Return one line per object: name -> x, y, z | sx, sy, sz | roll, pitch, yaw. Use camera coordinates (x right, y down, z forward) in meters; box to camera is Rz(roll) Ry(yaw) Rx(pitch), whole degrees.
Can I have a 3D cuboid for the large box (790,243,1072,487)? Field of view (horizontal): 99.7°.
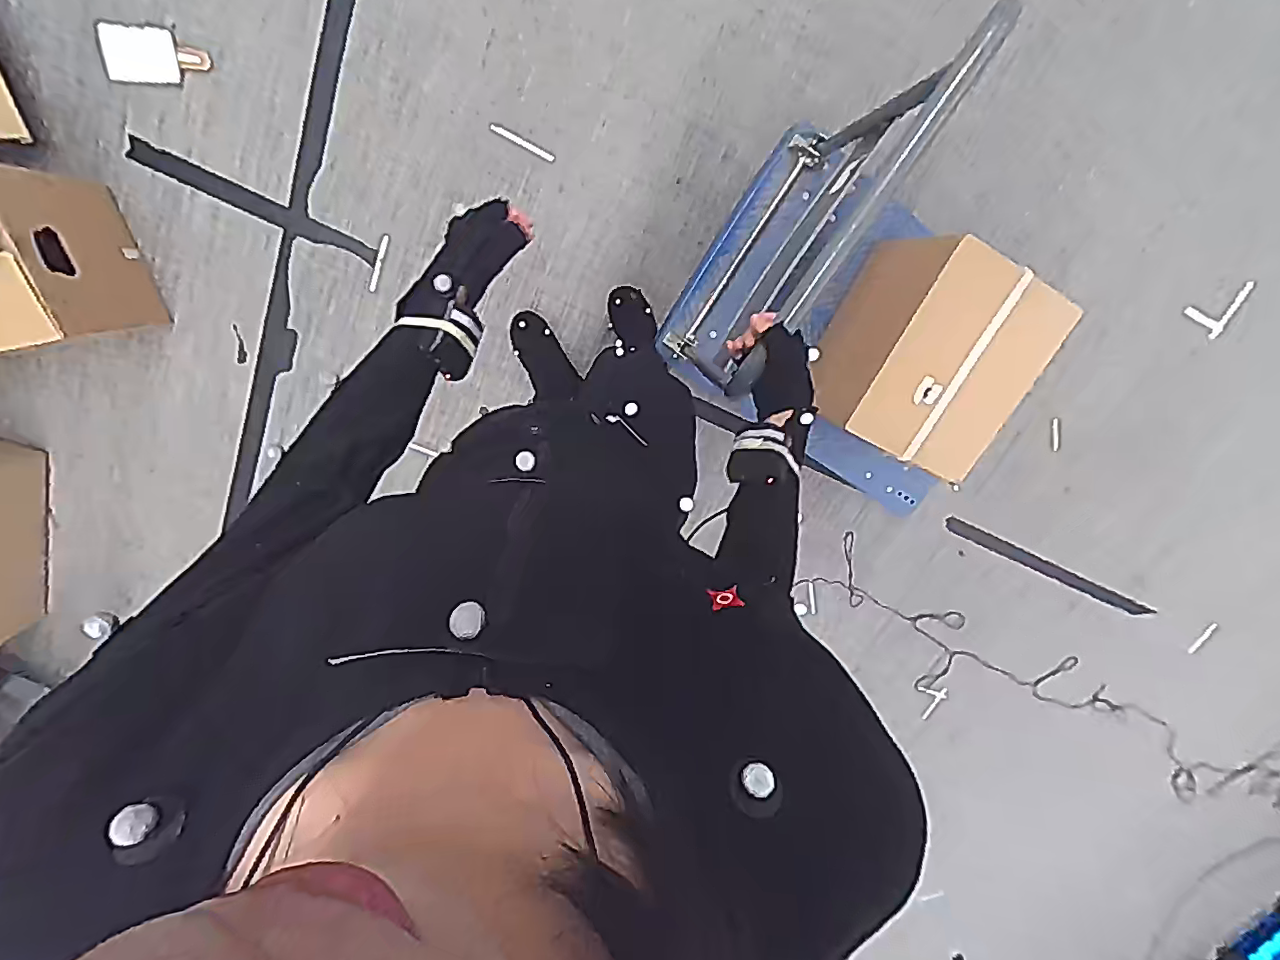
large box -> 0.607, -0.262, 1.204 | 0.320, 0.320, 0.408 | 23, 107, -14
